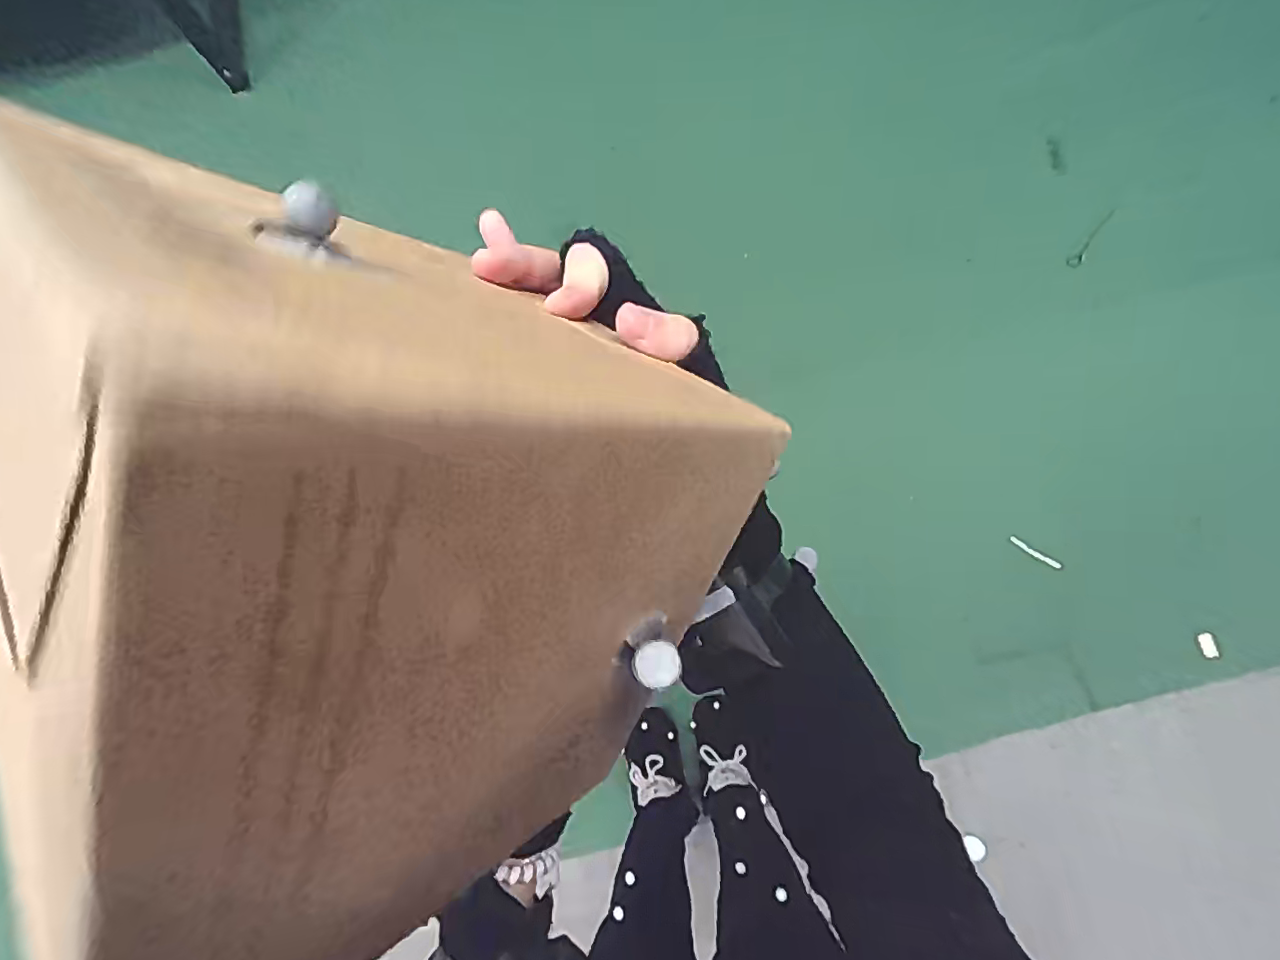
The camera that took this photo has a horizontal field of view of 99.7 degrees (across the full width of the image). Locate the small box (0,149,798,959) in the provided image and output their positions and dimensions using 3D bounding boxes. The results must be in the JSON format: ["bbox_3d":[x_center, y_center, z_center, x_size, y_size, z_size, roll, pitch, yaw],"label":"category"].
[{"bbox_3d":[-0.086,0.024,0.178,0.168,0.176,0.179,37,117,26],"label":"small box"}]
